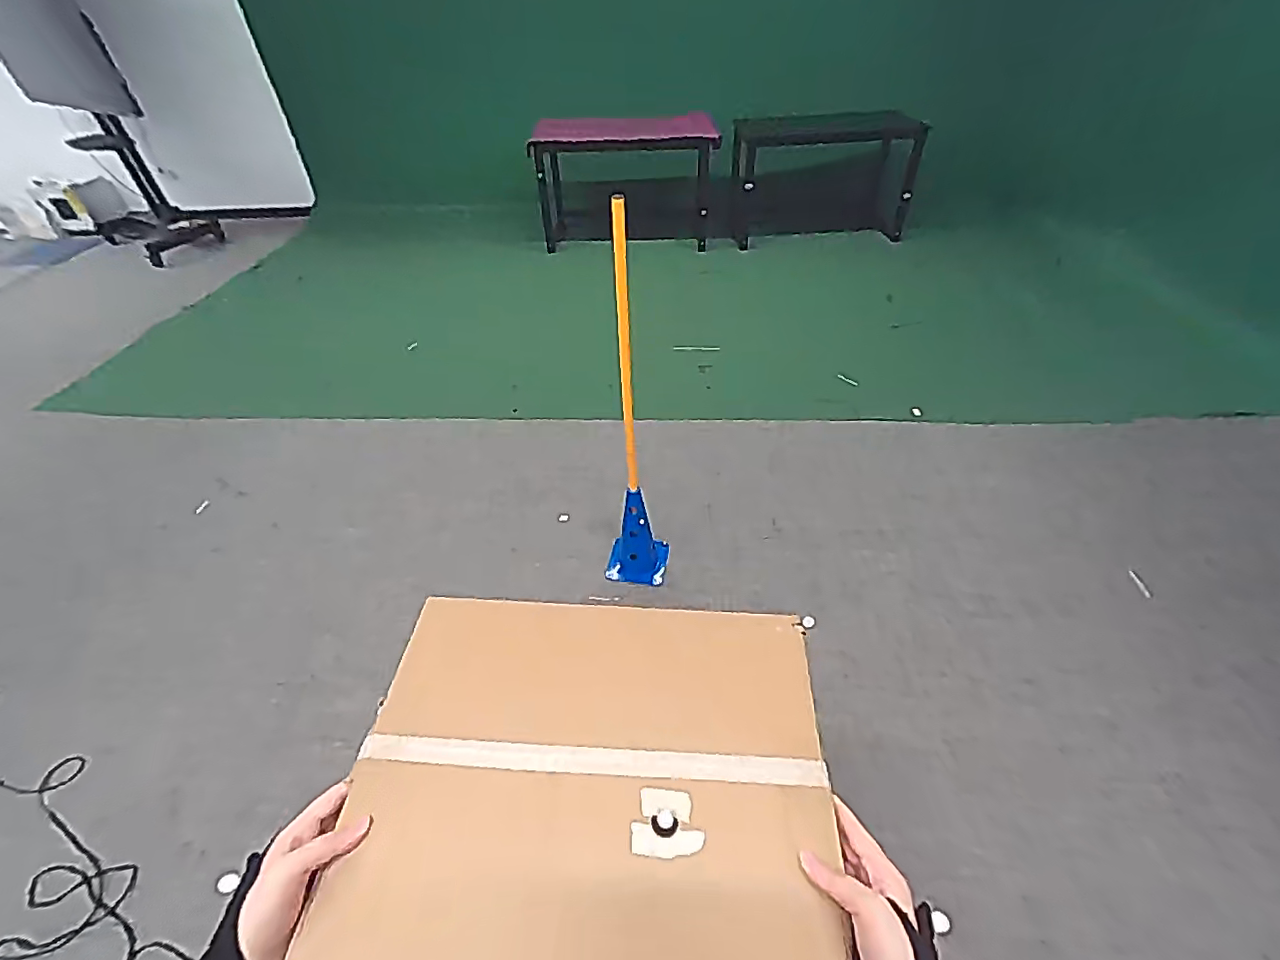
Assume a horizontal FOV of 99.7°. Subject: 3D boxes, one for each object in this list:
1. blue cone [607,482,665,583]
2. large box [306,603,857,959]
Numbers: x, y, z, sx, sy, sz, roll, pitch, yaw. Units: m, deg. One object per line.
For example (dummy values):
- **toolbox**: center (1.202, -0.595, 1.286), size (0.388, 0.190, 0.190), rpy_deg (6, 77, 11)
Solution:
- **blue cone**: center (-0.019, 0.163, 1.819), size (0.193, 0.380, 0.192), rpy_deg (7, 43, 10)
- **large box**: center (-0.039, 0.356, 0.588), size (0.408, 0.320, 0.320), rpy_deg (3, 45, 2)
